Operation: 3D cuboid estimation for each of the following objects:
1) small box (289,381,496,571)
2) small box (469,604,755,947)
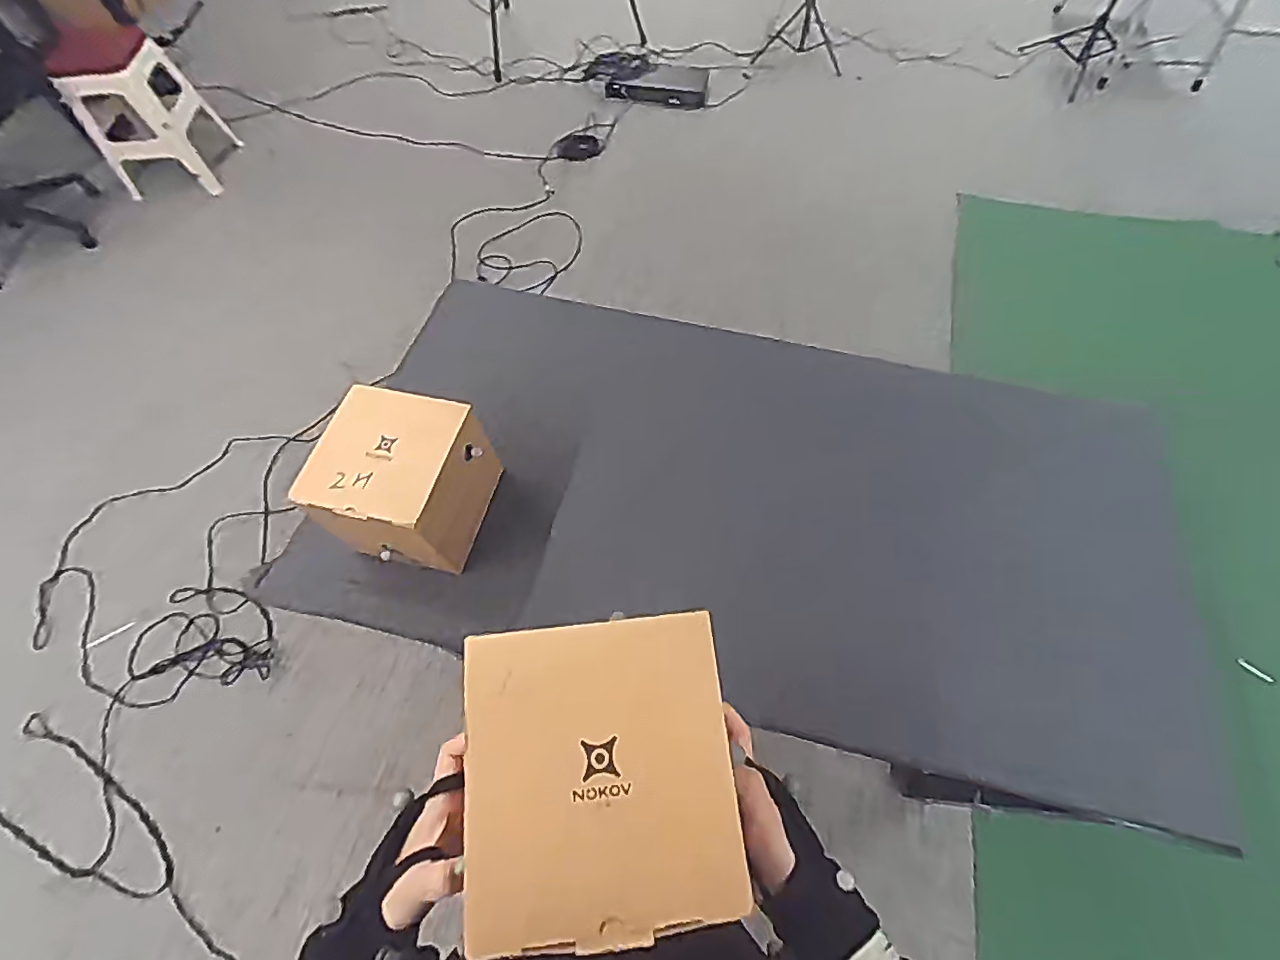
[{"bbox_3d":[-0.307,0.000,0.720,0.168,0.176,0.179,11,63,7],"label":"small box"},{"bbox_3d":[-0.027,0.200,0.409,0.168,0.176,0.179,-5,70,-5],"label":"small box"}]
